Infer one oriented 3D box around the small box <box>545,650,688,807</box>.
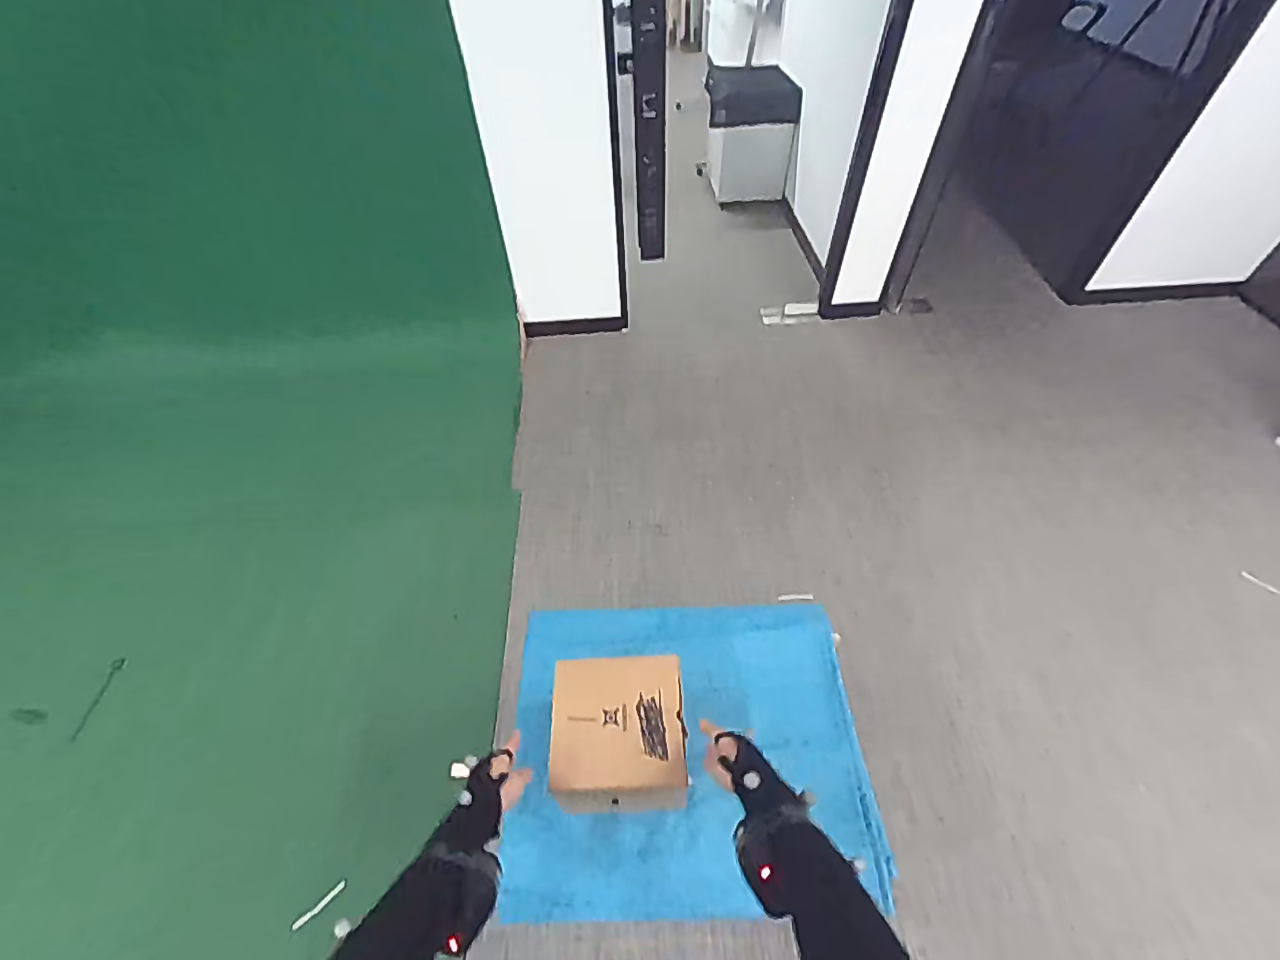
[{"bbox_3d":[-0.030,0.354,0.766,0.179,0.176,0.168,-3,50,0],"label":"small box"}]
